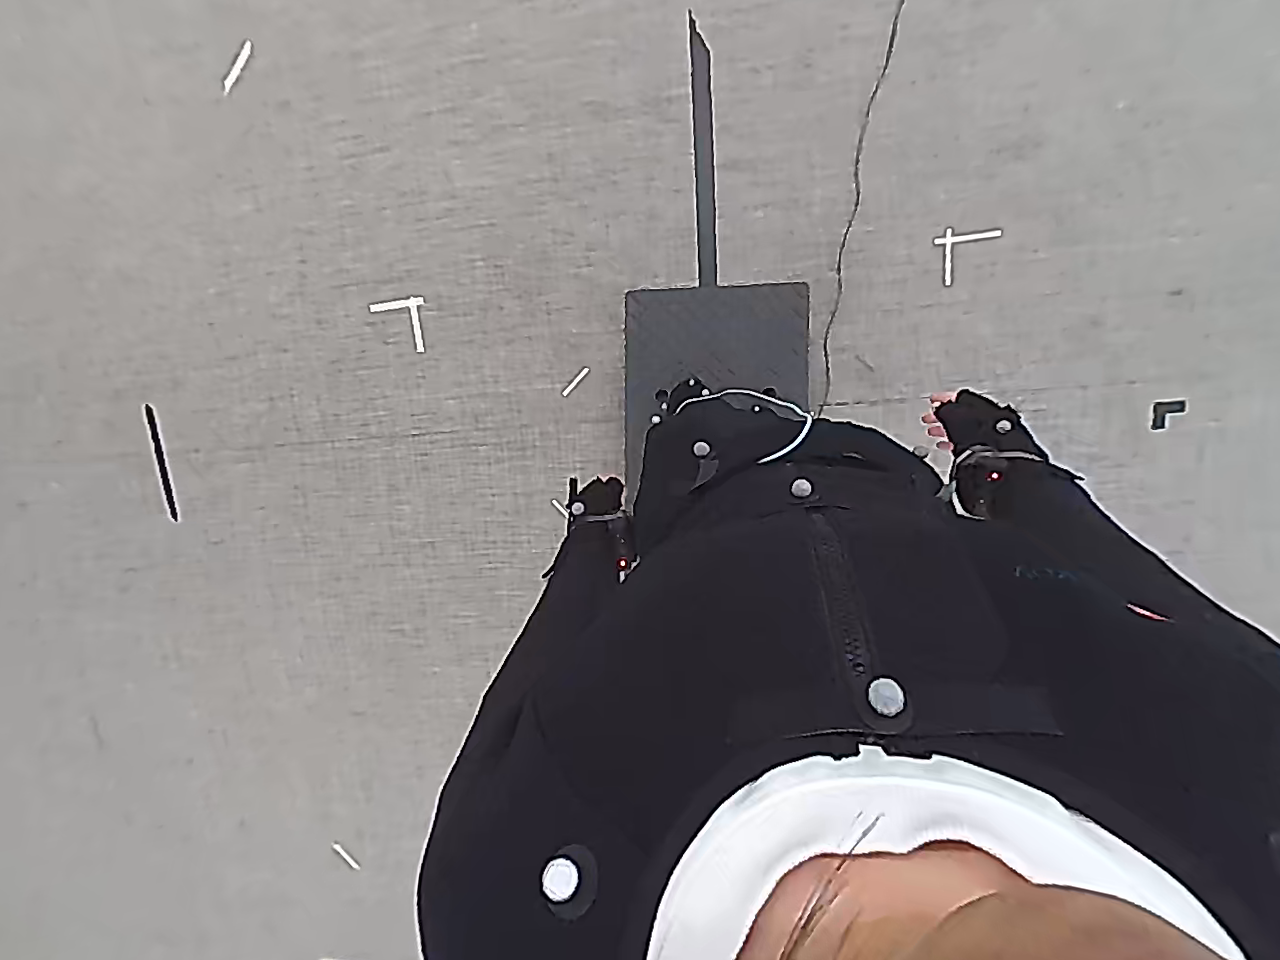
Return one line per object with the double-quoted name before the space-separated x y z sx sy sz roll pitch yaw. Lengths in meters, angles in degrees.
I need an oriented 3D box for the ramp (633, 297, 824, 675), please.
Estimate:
"ramp" 0.227 0.015 1.462 0.509 0.206 0.991 -3 97 11
